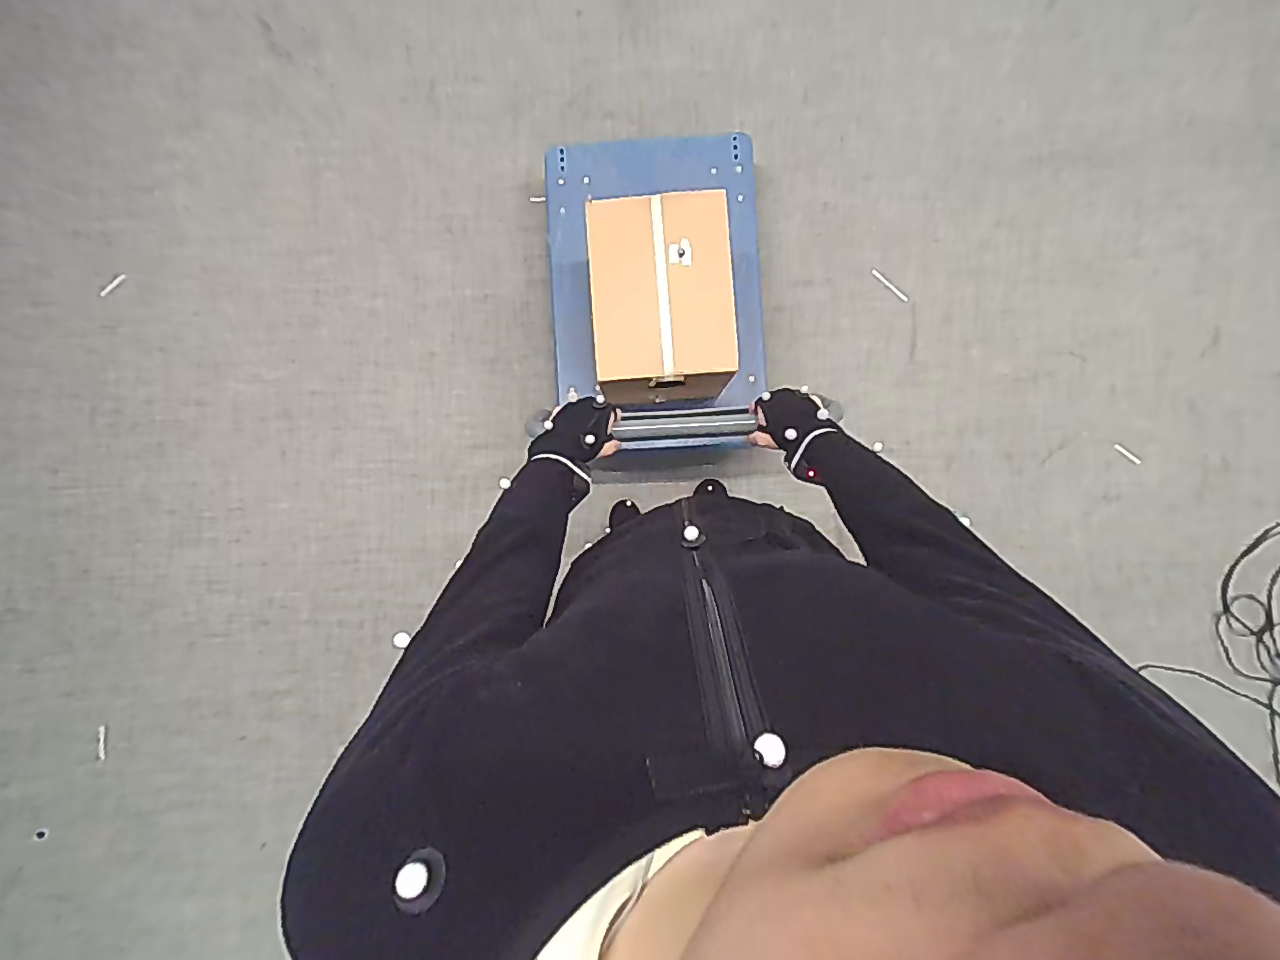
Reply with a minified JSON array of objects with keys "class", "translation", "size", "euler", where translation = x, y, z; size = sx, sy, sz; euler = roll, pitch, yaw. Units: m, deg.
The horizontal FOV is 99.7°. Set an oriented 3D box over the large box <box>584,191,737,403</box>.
[{"class":"large box","translation":[0.048,-0.424,1.340],"size":[0.320,0.320,0.408],"euler":[-4,88,1]}]
